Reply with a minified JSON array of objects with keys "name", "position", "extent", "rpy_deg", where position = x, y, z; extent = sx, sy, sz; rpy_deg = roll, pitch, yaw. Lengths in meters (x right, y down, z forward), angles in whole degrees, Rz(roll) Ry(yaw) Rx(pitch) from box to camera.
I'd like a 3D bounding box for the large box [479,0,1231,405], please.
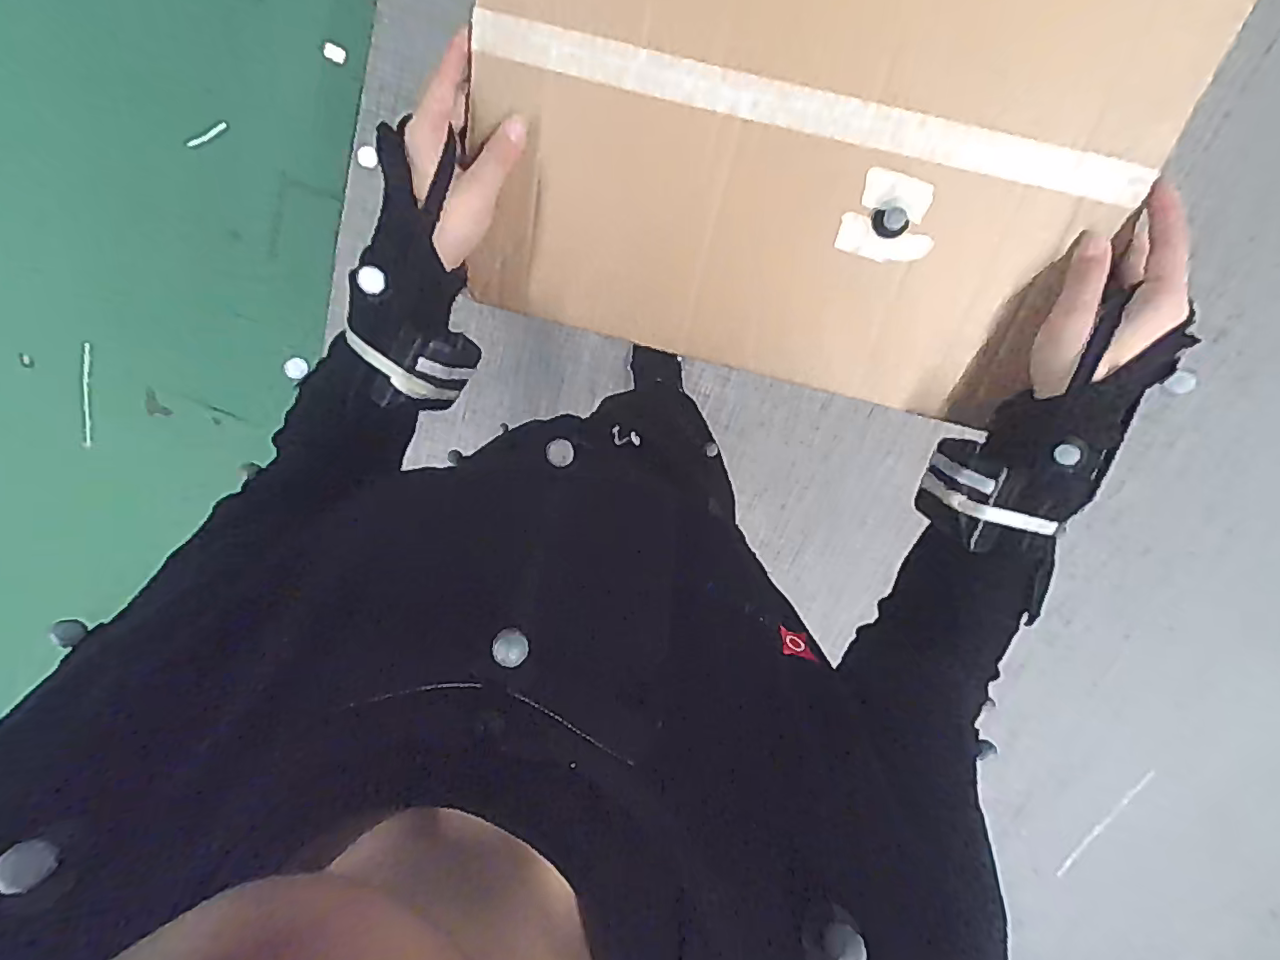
[{"name":"large box","position":[0.117,-0.290,0.458],"extent":[0.408,0.320,0.320],"rpy_deg":[13,116,0]}]
